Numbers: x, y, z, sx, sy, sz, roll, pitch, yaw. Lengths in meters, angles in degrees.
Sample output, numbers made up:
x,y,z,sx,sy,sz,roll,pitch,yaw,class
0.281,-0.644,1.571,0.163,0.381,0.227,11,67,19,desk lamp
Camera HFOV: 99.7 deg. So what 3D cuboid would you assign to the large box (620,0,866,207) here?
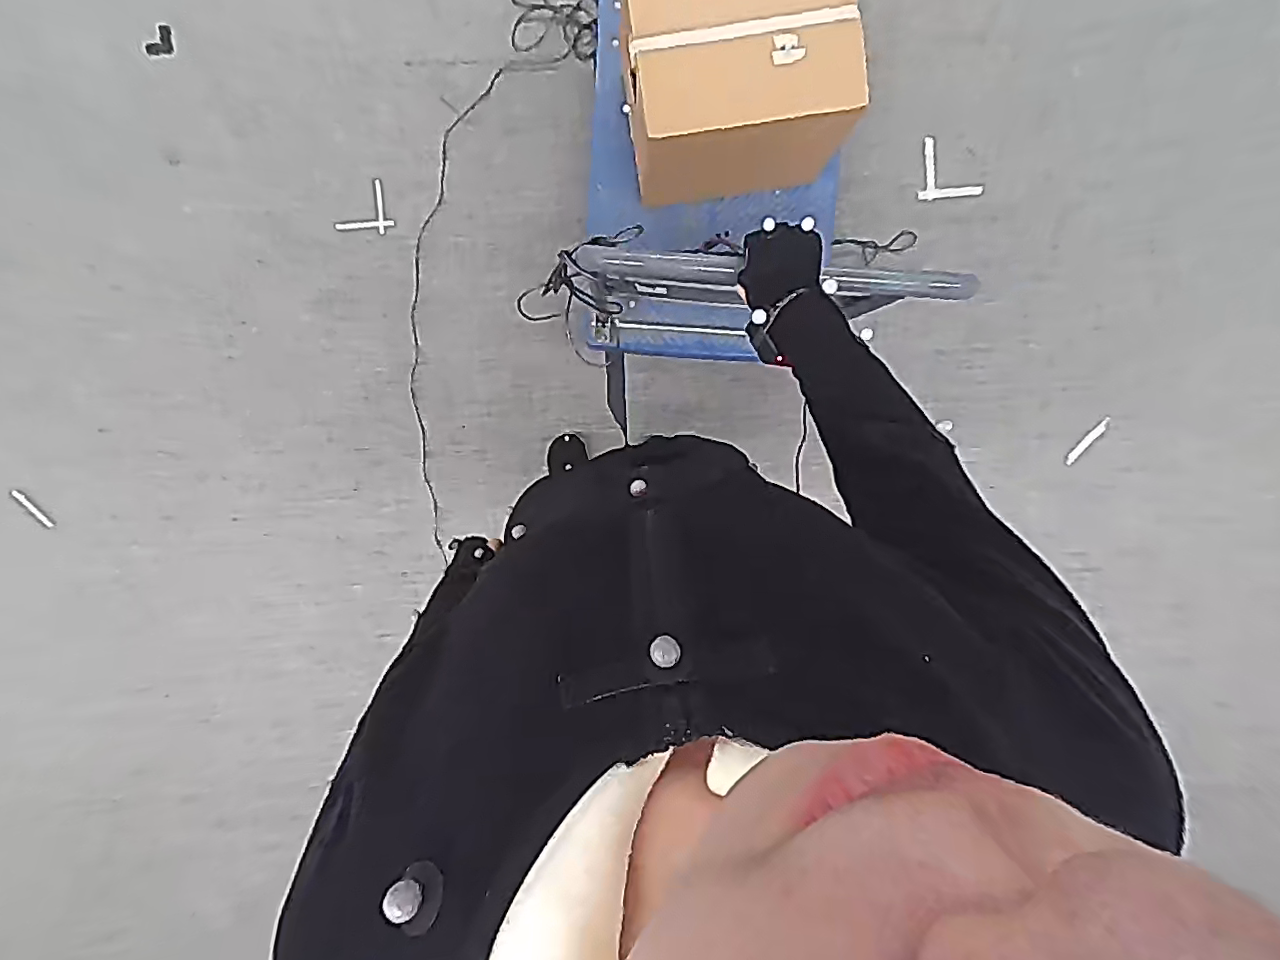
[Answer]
x,y,z,sx,sy,sz,roll,pitch,yaw,class
0.181,-0.801,1.100,0.408,0.320,0.320,-9,96,-1,large box
